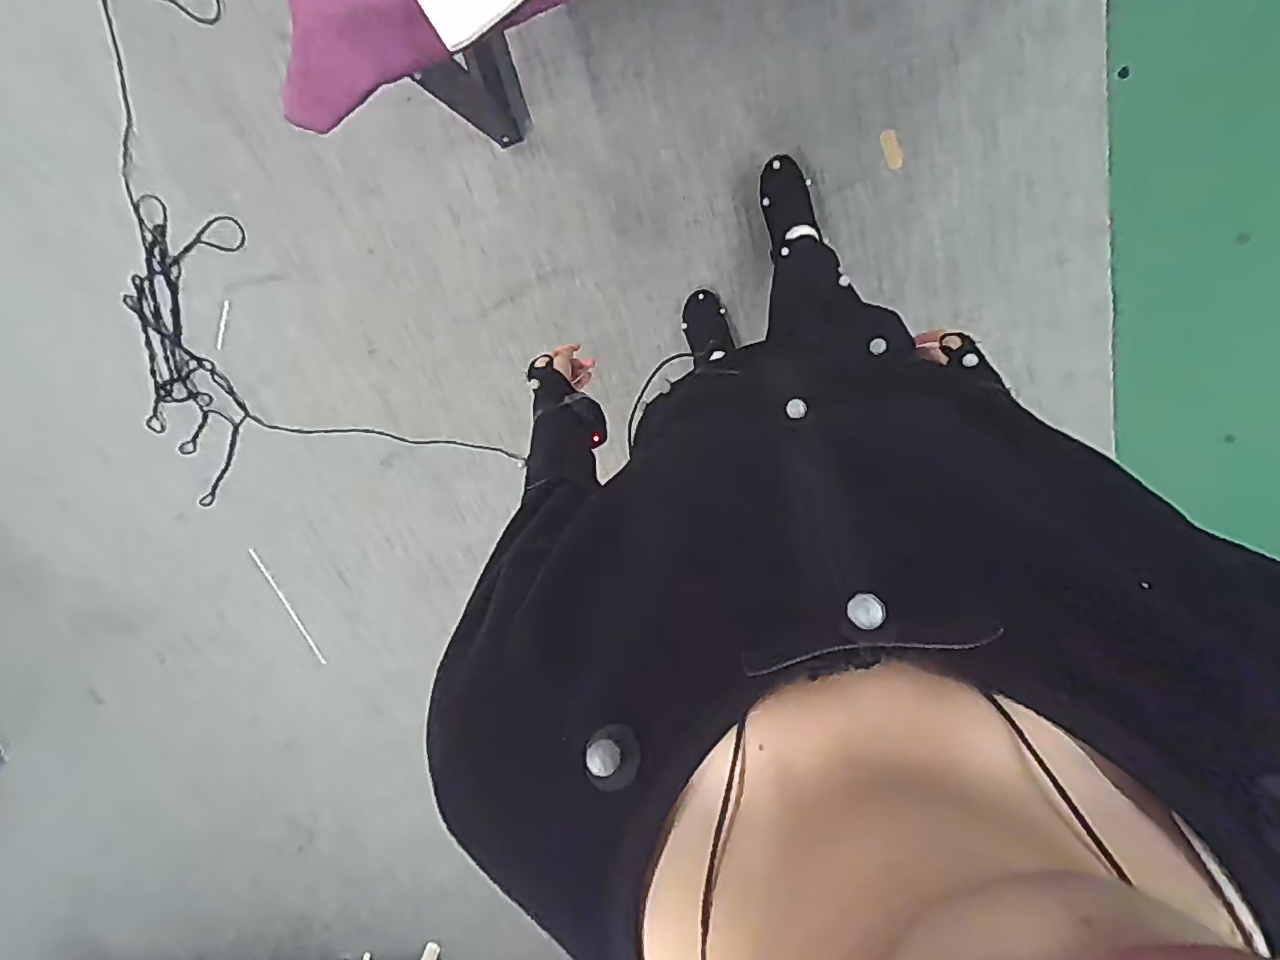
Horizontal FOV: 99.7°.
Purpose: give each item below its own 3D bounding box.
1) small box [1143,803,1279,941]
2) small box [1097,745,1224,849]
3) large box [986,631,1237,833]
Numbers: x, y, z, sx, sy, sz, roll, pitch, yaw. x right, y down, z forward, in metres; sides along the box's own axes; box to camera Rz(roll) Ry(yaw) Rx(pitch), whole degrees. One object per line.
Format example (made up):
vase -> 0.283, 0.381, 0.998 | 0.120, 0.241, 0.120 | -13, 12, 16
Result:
small box -> 1.260, 0.841, 1.174 | 0.179, 0.176, 0.168 | -22, 106, 12
small box -> 1.271, 0.780, 1.323 | 0.168, 0.176, 0.179 | -23, 106, 12
large box -> 1.324, 0.711, 1.557 | 0.408, 0.320, 0.320 | -30, 106, 12
